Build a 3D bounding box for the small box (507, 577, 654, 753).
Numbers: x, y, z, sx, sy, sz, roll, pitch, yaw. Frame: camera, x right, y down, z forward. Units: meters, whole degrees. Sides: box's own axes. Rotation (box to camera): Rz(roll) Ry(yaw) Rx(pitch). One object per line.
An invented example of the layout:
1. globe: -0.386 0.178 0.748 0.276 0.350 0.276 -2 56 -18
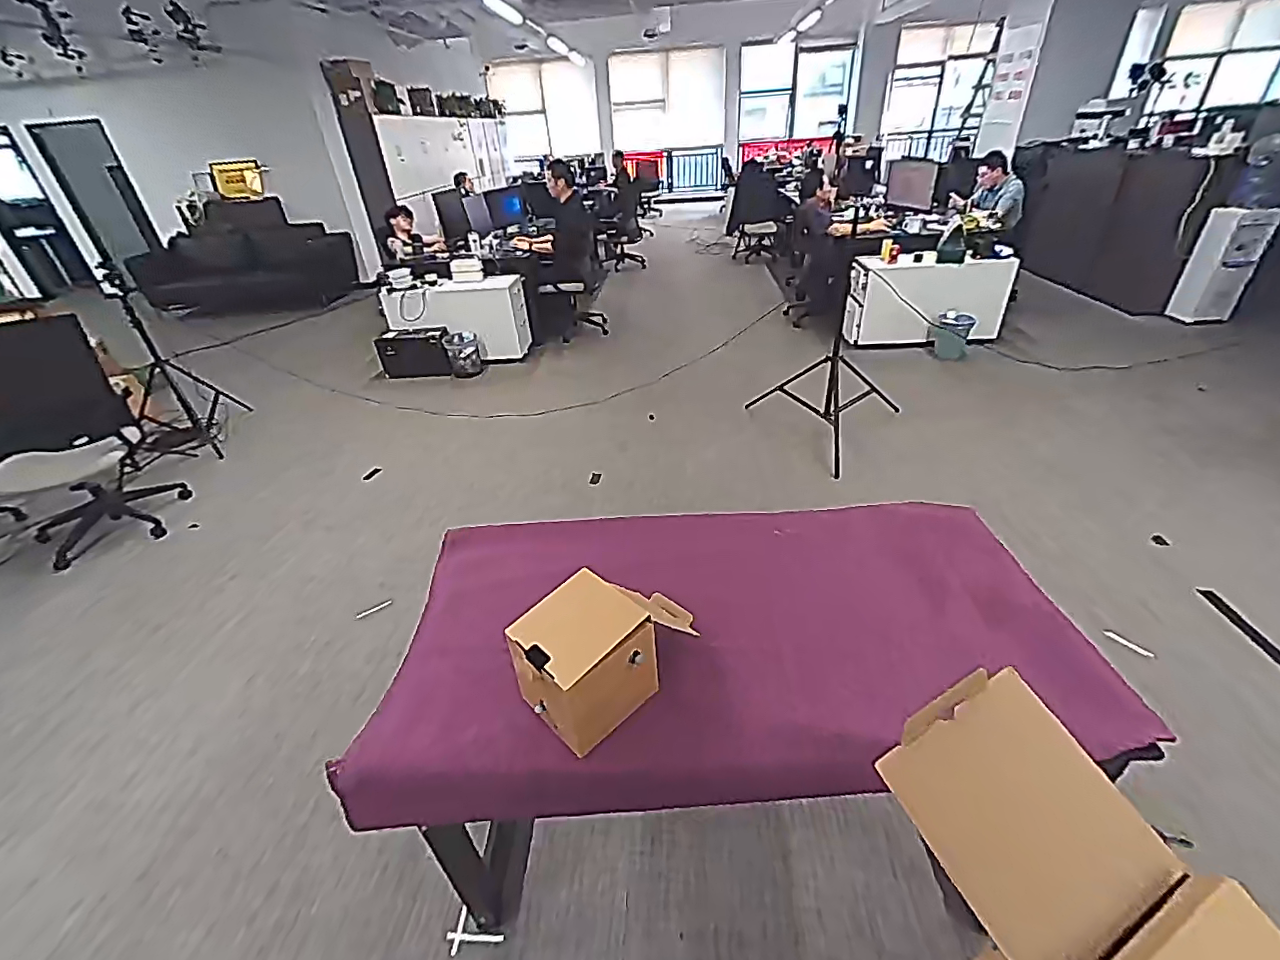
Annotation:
1. small box: -0.091 0.299 0.894 0.179 0.176 0.168 -30 39 -34
